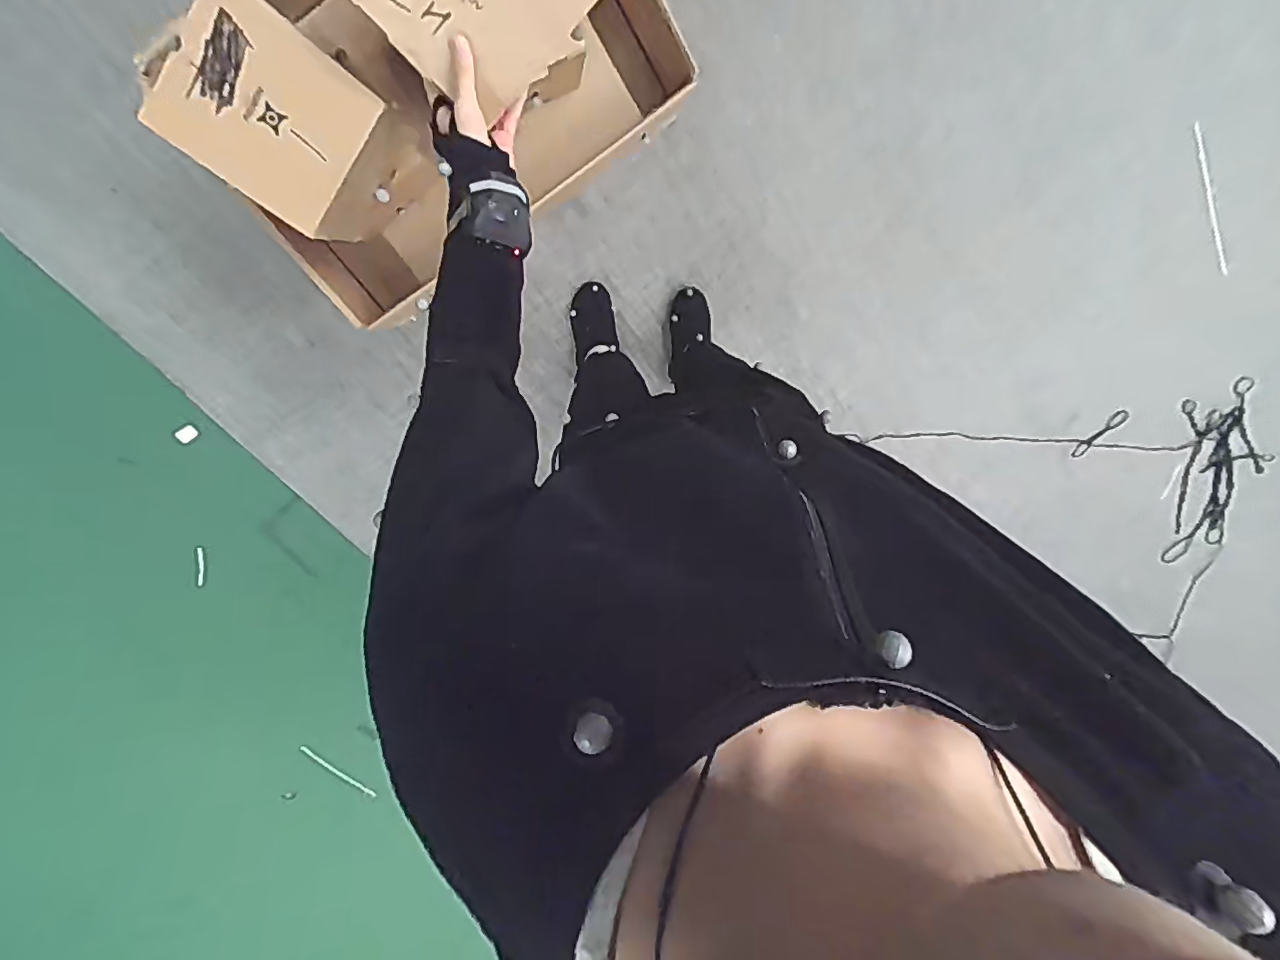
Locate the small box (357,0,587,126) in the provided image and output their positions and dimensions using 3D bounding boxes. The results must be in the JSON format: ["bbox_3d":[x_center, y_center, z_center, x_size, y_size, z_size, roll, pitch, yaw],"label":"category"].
[{"bbox_3d":[-0.161,-0.488,0.504,0.179,0.176,0.168,-35,134,22],"label":"small box"}]

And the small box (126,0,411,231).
[{"bbox_3d":[-0.389,-0.400,0.603,0.179,0.176,0.168,35,103,-22],"label":"small box"}]

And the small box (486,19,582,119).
[{"bbox_3d":[-0.190,-0.620,0.730,0.168,0.176,0.179,-25,114,1],"label":"small box"}]
